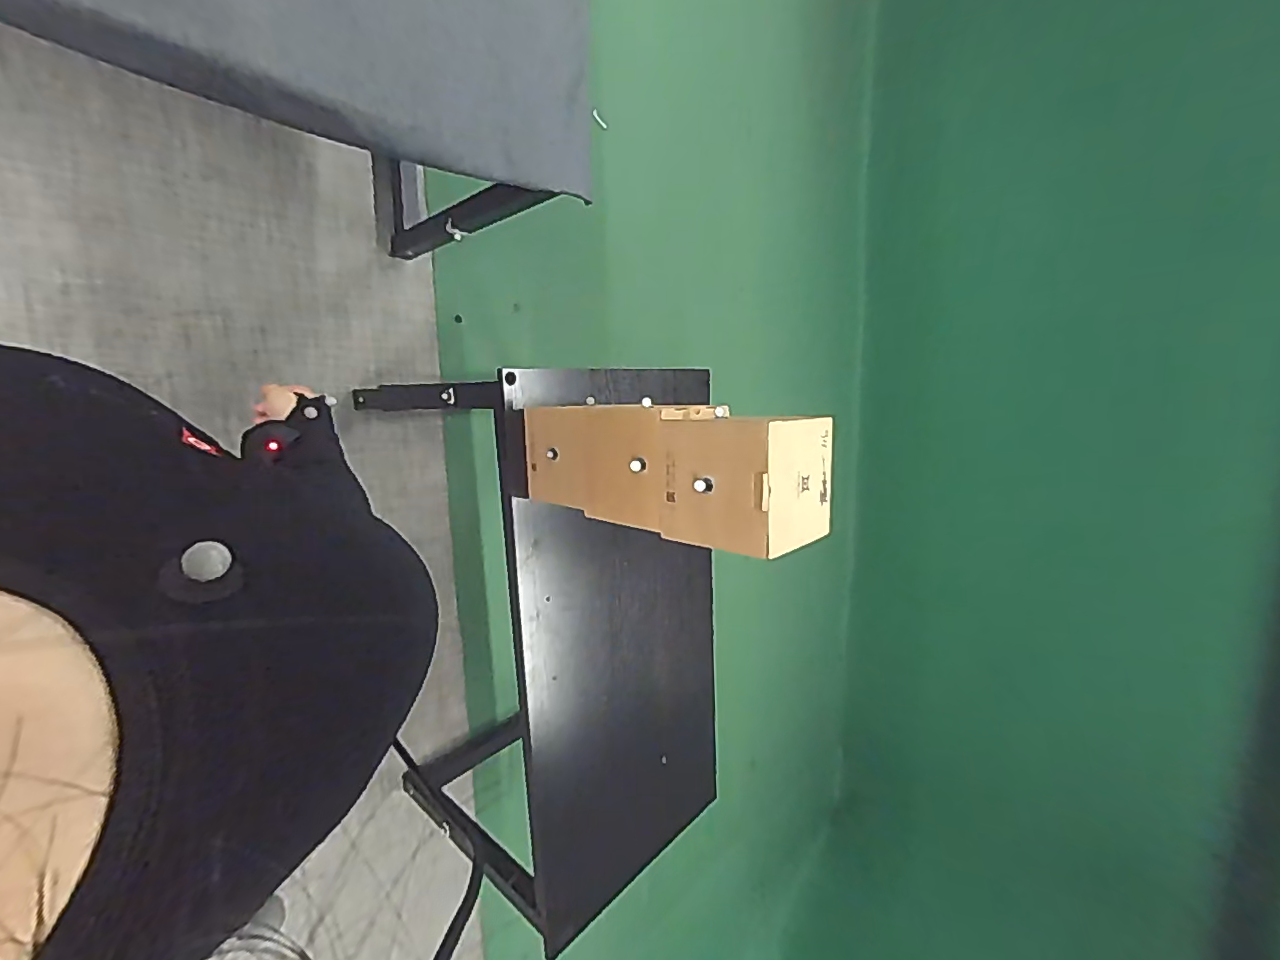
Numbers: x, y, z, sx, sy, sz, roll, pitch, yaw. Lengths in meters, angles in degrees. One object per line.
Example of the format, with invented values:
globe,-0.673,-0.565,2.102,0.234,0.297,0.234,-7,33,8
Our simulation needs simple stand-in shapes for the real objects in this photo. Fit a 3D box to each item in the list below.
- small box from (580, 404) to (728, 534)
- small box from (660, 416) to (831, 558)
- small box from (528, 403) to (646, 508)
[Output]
small box,0.020,-0.028,0.843,0.168,0.176,0.179,-11,103,-46
small box,0.140,-0.002,0.733,0.179,0.176,0.168,-9,101,-45
small box,-0.088,-0.052,0.963,0.179,0.176,0.168,-11,105,-46
